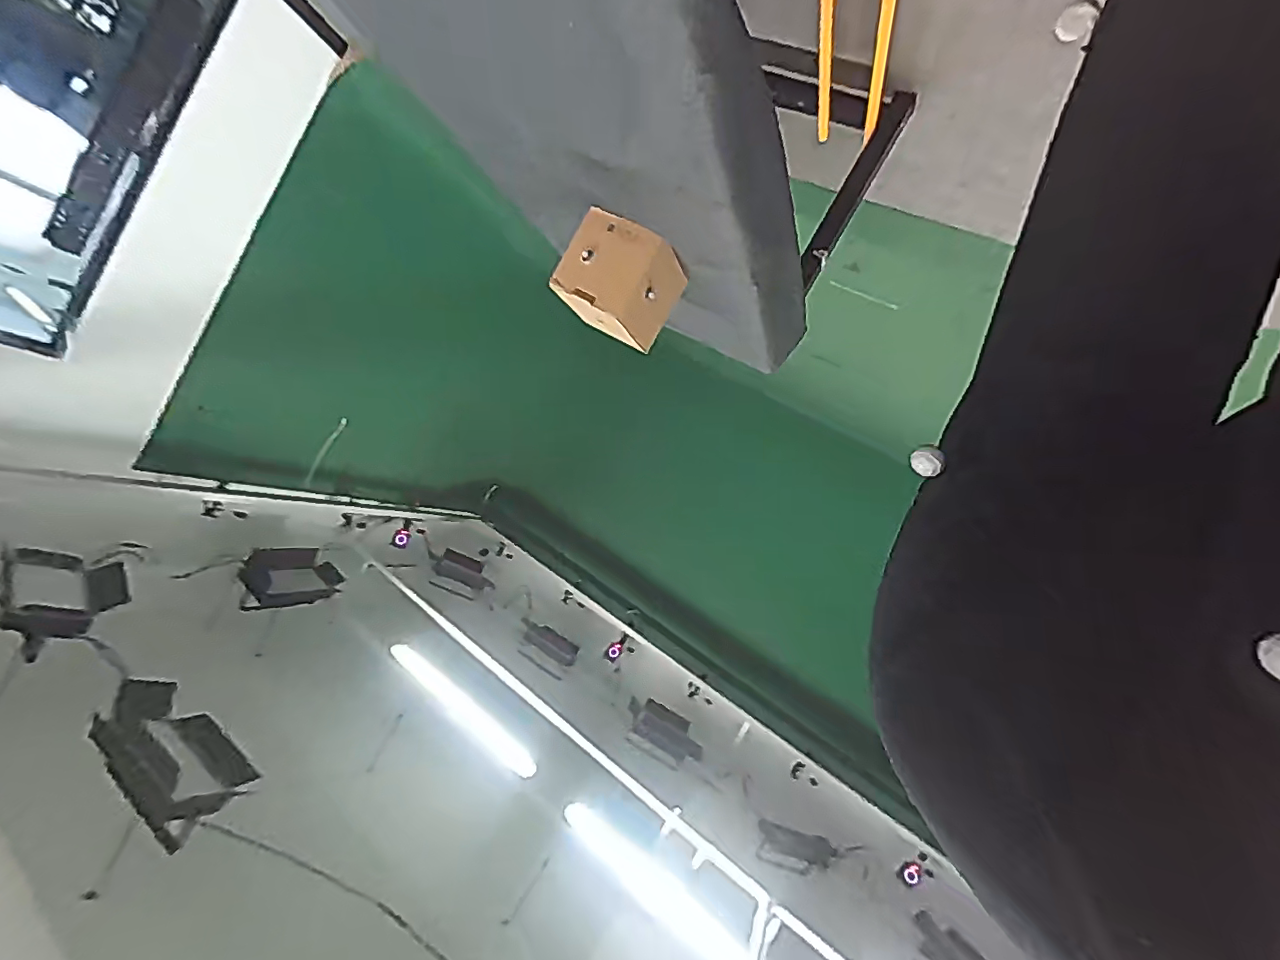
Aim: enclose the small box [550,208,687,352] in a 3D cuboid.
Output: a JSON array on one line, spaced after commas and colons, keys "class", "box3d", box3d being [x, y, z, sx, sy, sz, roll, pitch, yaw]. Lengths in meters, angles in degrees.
[{"class": "small box", "box3d": [-0.033, -0.376, 1.026, 0.168, 0.176, 0.179, 32, -176, 19]}]
